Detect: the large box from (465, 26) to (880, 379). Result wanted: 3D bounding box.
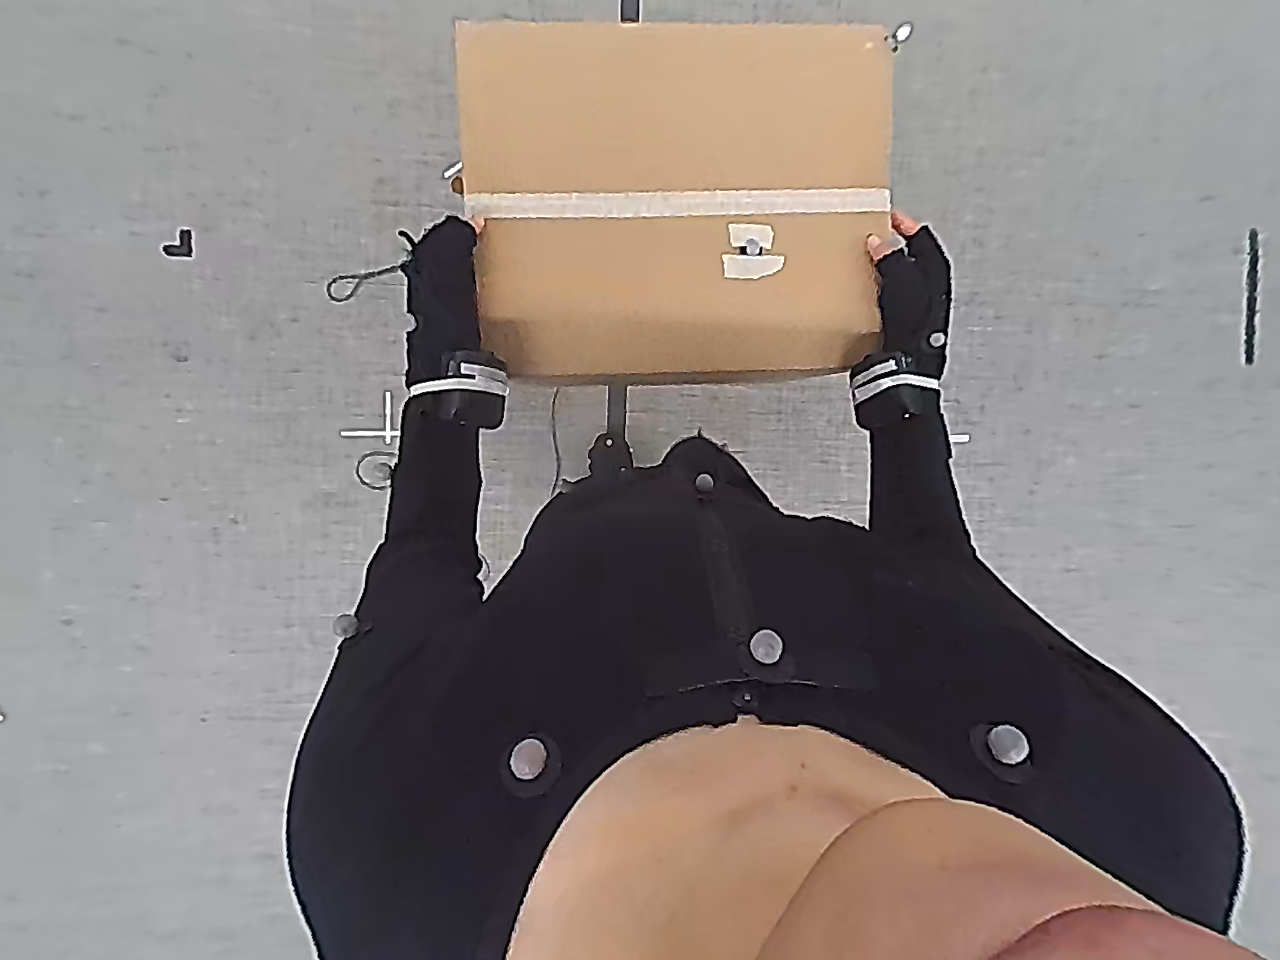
[{"bbox_3d":[0.030,-0.298,0.679,0.408,0.320,0.320,-2,99,-3],"label":"large box"}]
